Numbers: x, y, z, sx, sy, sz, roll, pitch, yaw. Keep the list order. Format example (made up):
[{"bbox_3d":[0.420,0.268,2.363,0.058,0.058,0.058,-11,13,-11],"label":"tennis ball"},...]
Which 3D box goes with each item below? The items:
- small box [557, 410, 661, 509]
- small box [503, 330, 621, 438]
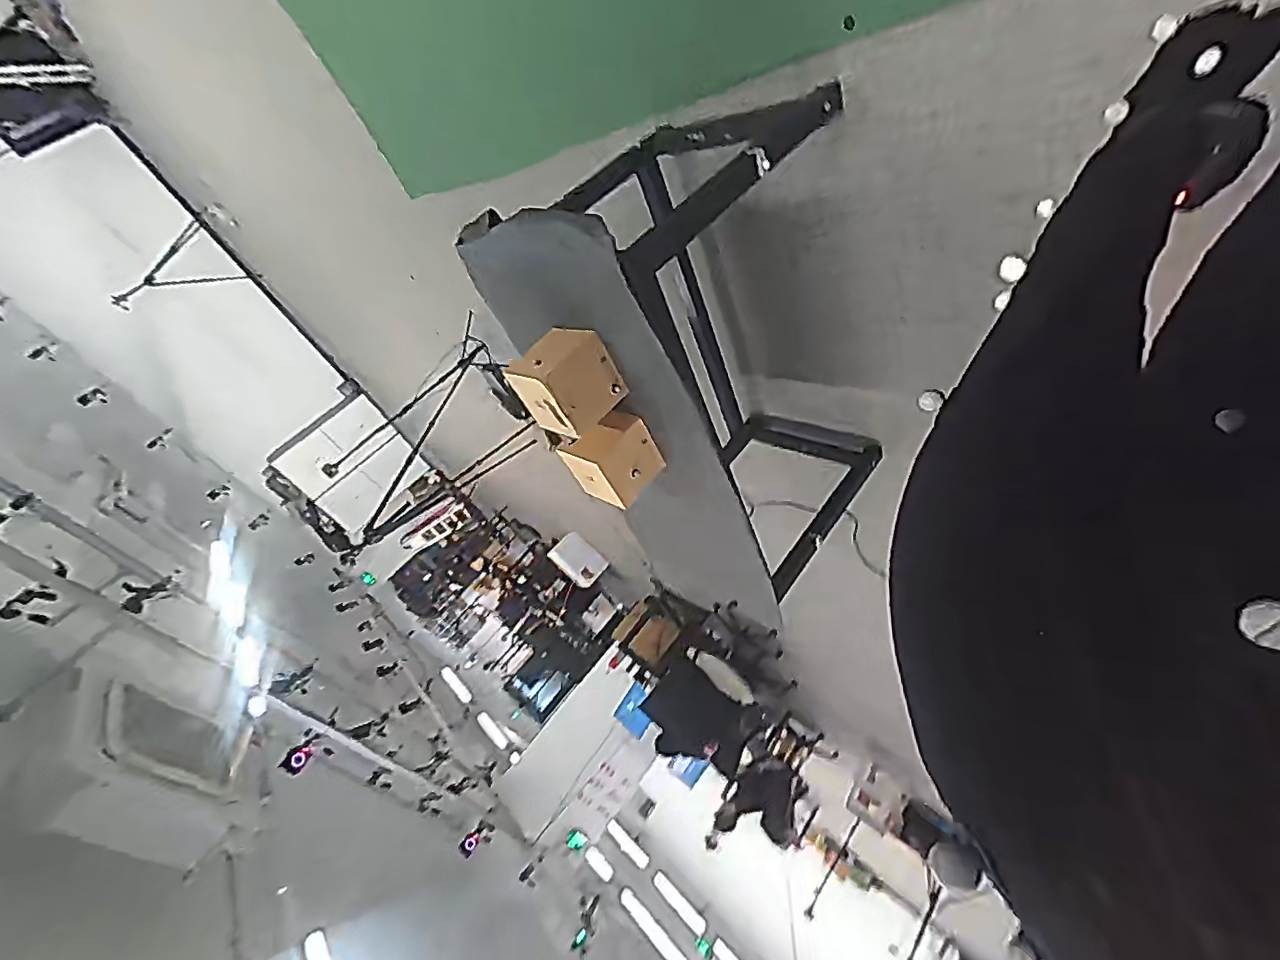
[{"bbox_3d":[-0.070,-0.059,1.362,0.179,0.176,0.168,21,150,47],"label":"small box"},{"bbox_3d":[-0.165,-0.221,1.212,0.179,0.176,0.168,21,150,47],"label":"small box"}]
